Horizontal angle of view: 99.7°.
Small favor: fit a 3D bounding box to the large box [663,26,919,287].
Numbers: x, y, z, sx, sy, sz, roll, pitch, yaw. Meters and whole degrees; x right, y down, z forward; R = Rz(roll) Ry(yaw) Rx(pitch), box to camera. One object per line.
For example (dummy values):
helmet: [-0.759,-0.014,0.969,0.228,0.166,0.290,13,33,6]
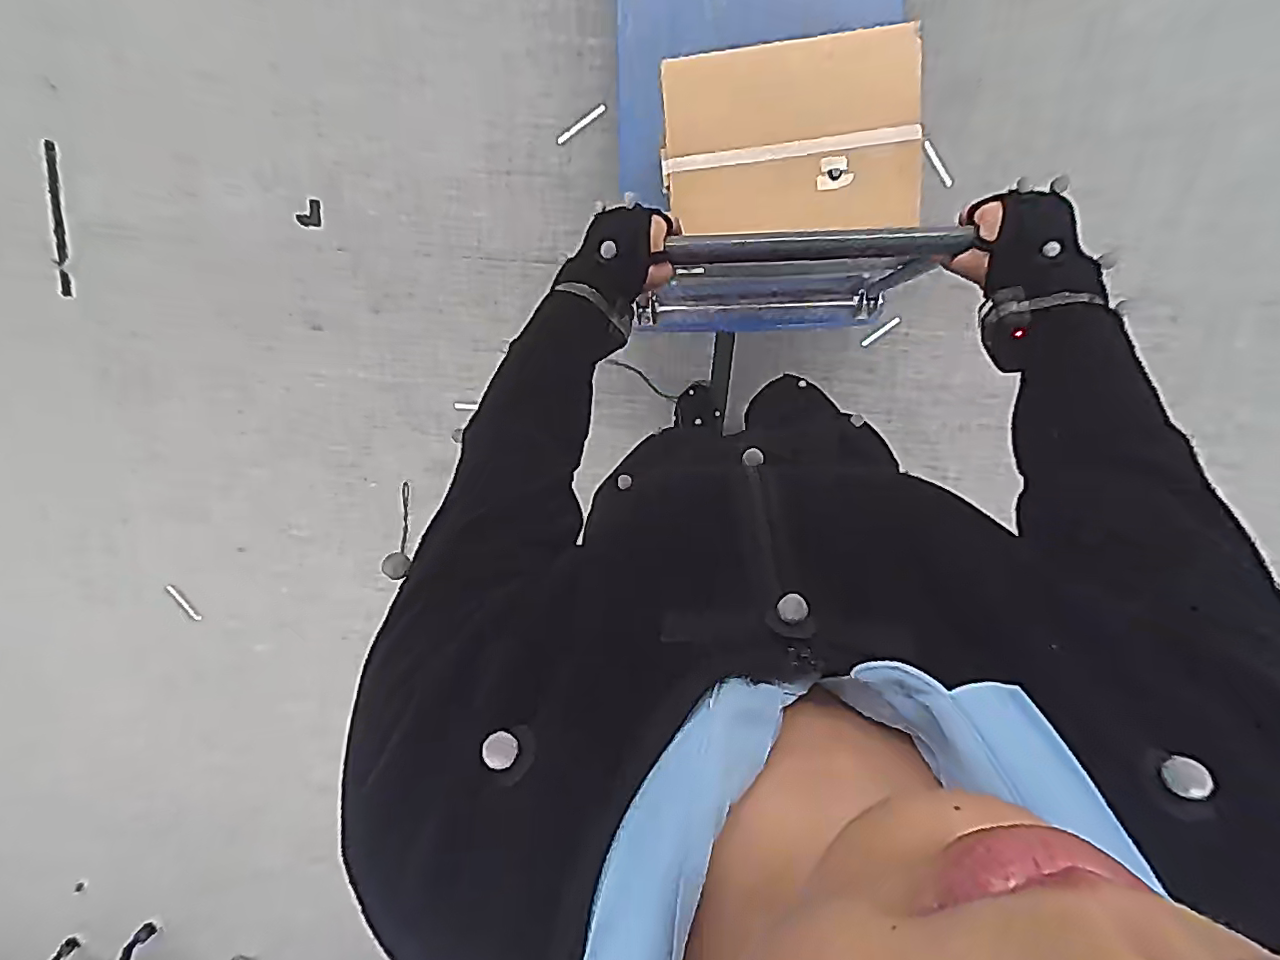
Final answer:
large box: [0.260,-0.572,1.034,0.408,0.320,0.320,-5,103,5]
